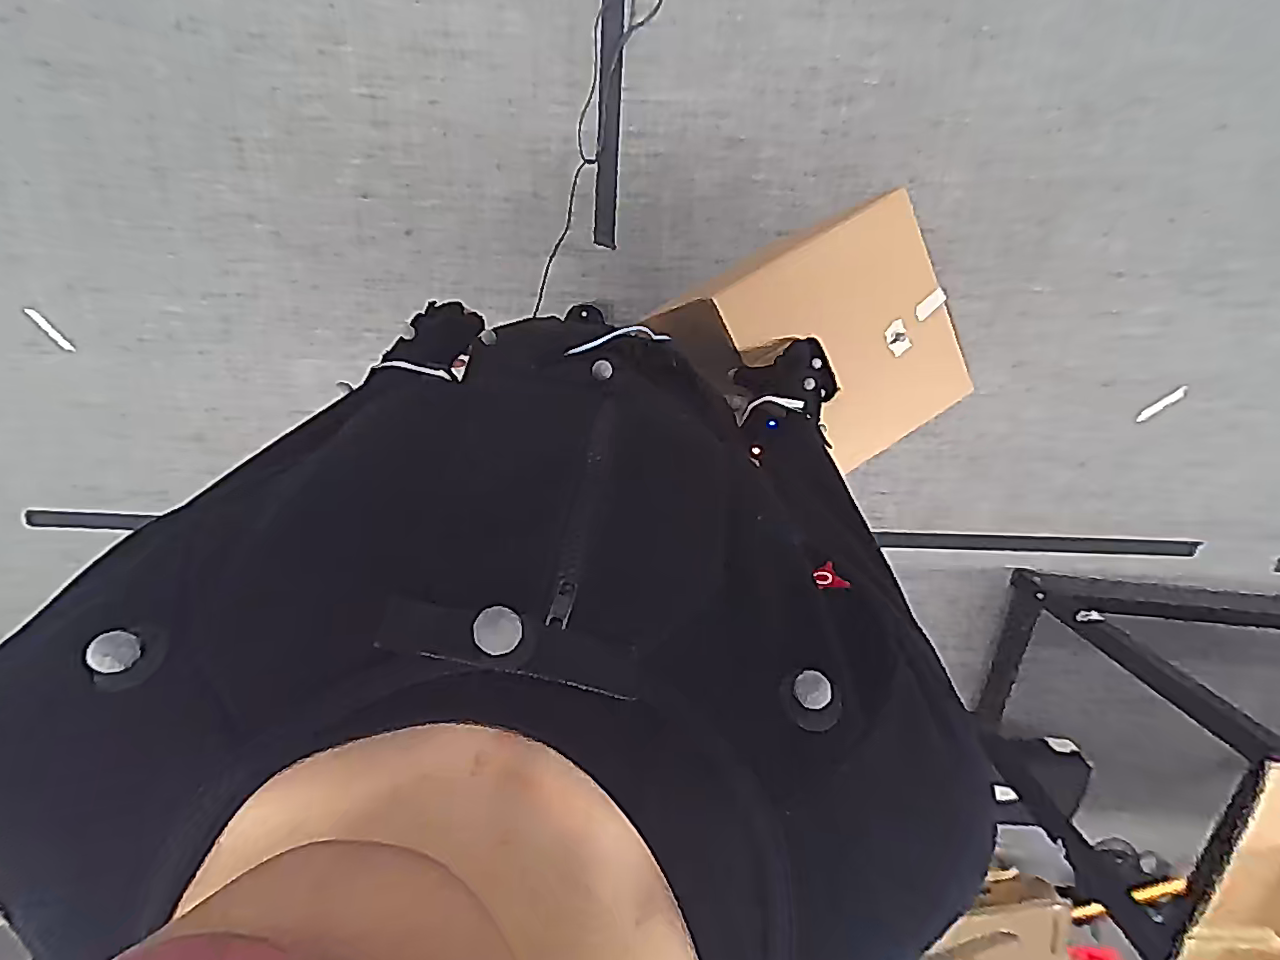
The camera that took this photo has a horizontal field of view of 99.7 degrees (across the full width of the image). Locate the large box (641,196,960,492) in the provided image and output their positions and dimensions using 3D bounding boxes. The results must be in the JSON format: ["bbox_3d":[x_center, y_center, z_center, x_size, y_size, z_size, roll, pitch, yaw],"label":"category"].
[{"bbox_3d":[0.244,-0.221,0.939,0.320,0.408,0.320,-31,107,-6],"label":"large box"}]
